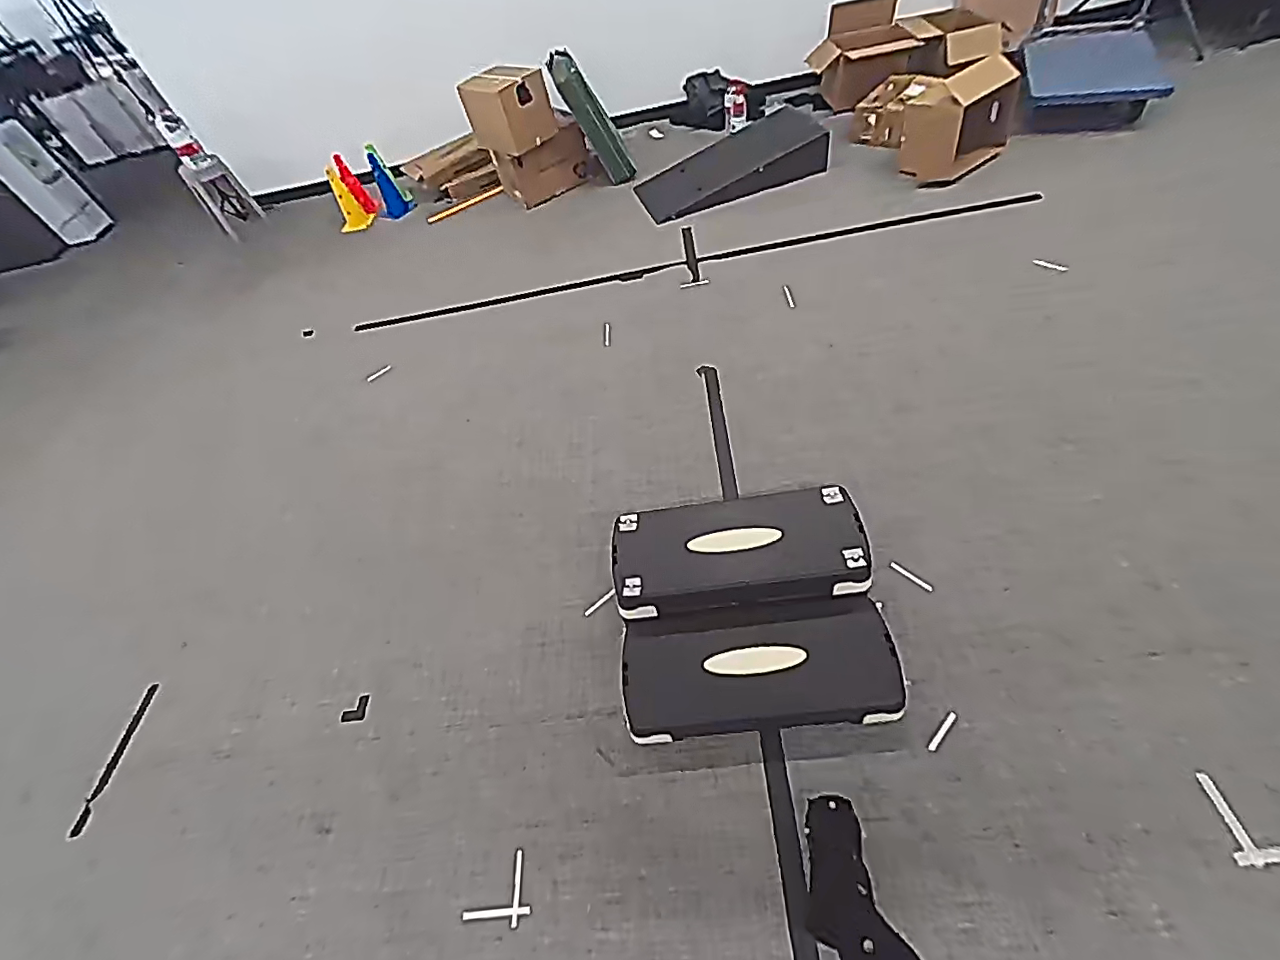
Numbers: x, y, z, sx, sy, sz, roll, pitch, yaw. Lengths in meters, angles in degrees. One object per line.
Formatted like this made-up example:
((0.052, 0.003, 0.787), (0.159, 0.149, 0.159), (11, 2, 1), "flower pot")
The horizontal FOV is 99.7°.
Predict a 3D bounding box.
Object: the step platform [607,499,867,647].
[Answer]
((0.250, 0.253, 1.486), (0.684, 0.204, 0.286), (-9, 51, 5), "step platform")
